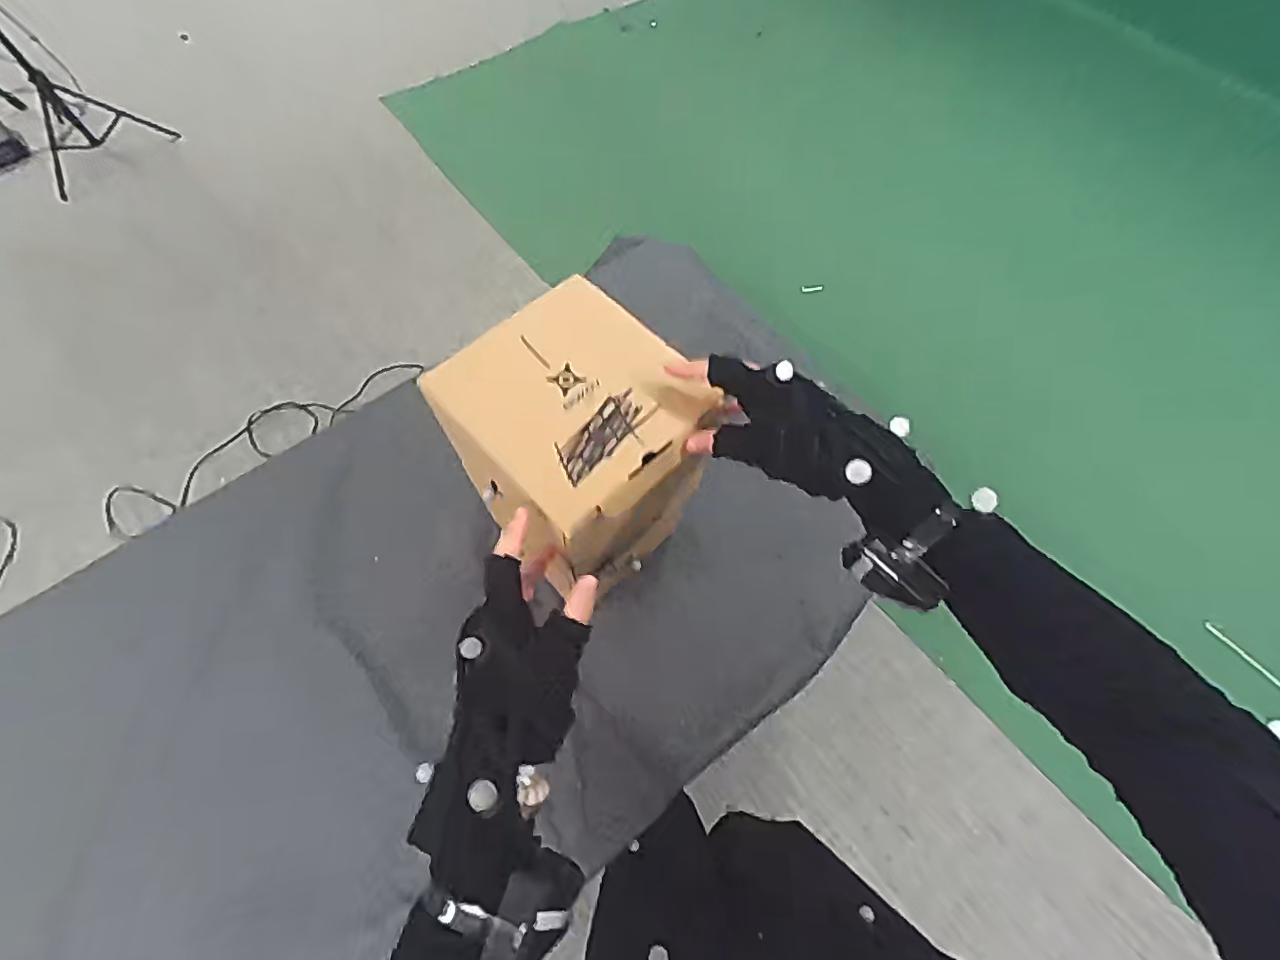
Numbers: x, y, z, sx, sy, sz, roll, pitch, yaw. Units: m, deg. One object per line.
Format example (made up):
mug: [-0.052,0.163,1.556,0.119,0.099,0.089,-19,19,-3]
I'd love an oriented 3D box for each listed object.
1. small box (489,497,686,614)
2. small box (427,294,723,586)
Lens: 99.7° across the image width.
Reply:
small box: [-0.065,0.035,0.646,0.168,0.176,0.179,-40,72,-17]
small box: [-0.051,-0.023,0.492,0.168,0.176,0.179,-40,71,-18]
